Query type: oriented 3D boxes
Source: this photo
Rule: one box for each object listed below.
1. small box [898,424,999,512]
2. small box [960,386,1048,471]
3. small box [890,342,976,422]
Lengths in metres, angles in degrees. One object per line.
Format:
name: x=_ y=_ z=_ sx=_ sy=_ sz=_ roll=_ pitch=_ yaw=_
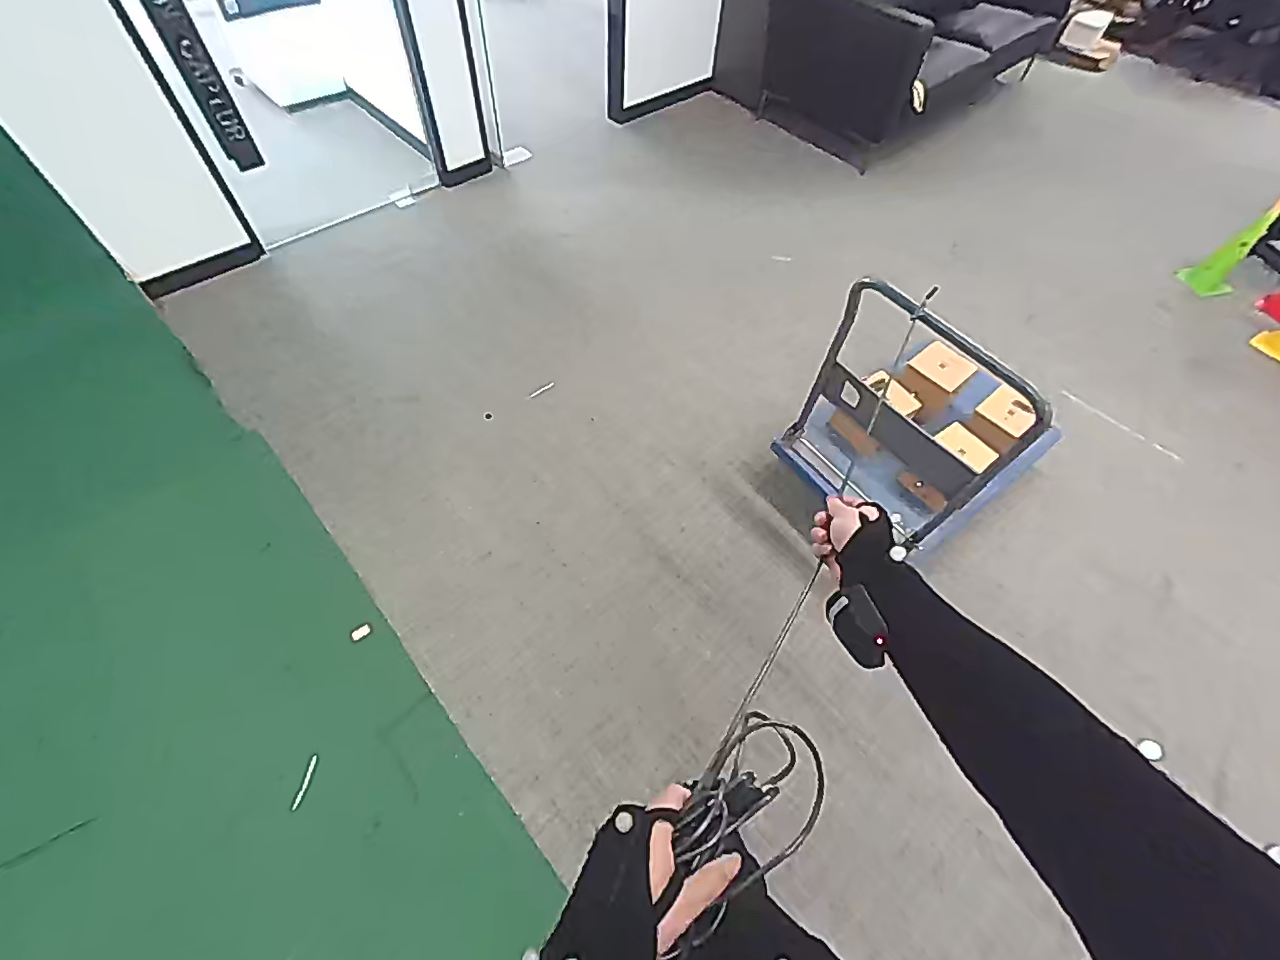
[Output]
small box: x=0.930 y=-0.034 z=1.647 sx=0.179 sy=0.176 sz=0.168 roll=-30 pitch=63 yaw=-19
small box: x=1.148 y=-0.163 z=1.741 sx=0.179 sy=0.176 sz=0.168 roll=-34 pitch=64 yaw=-21
small box: x=0.985 y=-0.328 z=1.839 sx=0.179 sy=0.176 sz=0.168 roll=-34 pitch=66 yaw=-22
